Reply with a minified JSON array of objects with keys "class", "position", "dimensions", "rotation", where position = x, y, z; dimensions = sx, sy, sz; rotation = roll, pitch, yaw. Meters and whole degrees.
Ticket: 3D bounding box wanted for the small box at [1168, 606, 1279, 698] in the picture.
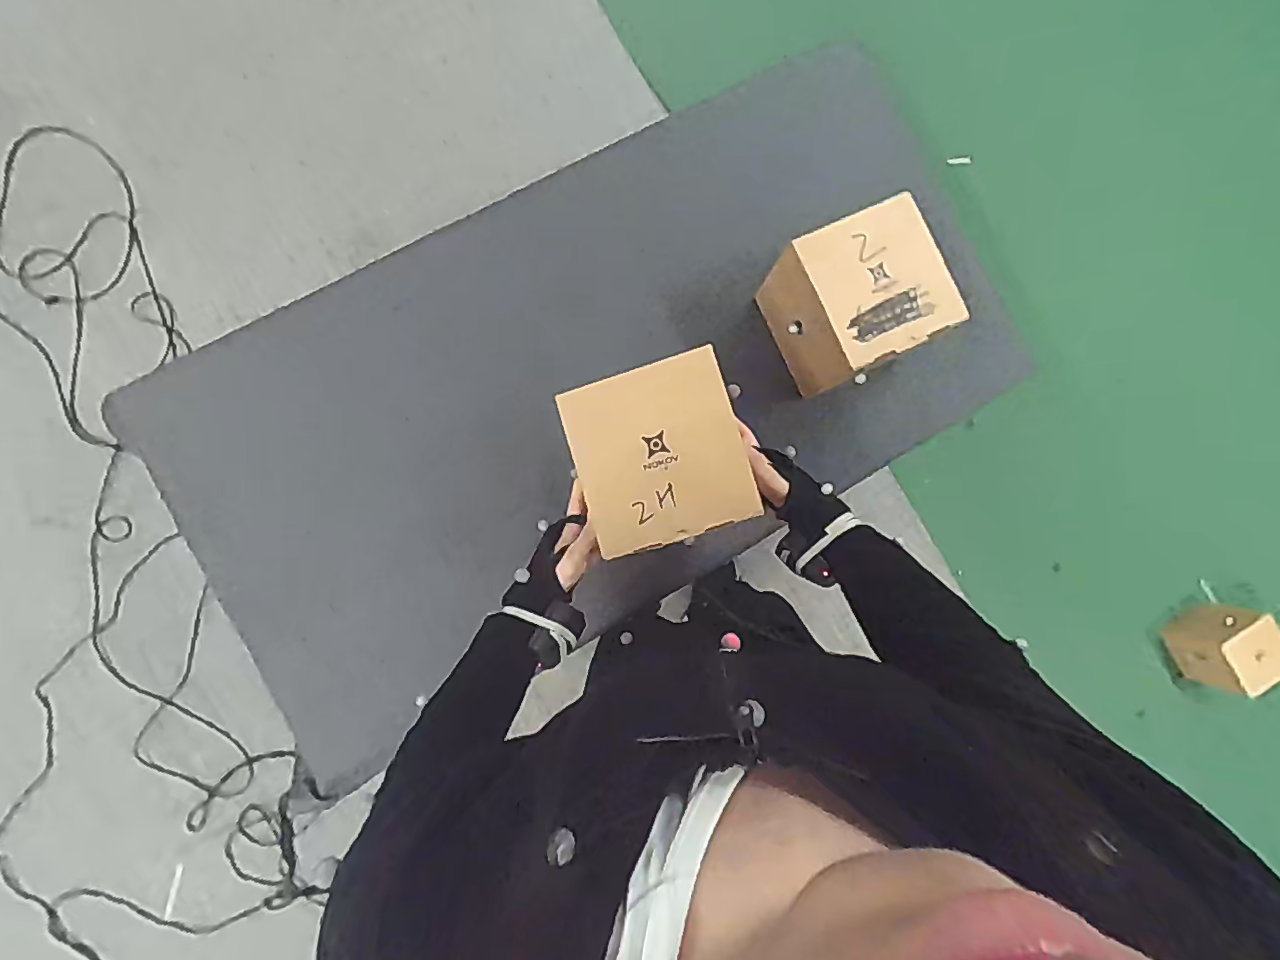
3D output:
[{"class":"small box","position":[1.657,0.477,1.523],"dimensions":[0.179,0.176,0.168],"rotation":[-31,89,-6]}]
